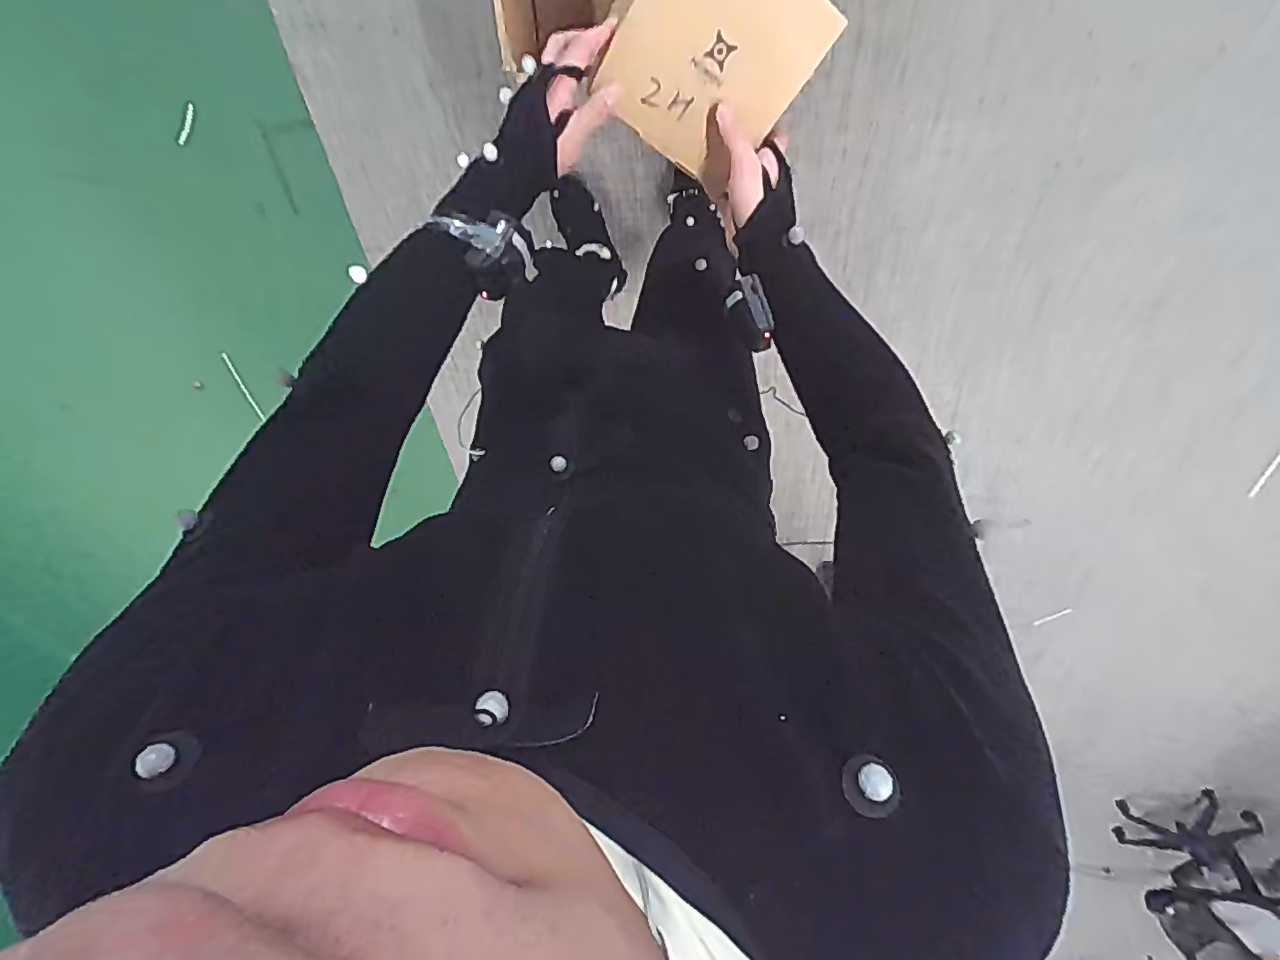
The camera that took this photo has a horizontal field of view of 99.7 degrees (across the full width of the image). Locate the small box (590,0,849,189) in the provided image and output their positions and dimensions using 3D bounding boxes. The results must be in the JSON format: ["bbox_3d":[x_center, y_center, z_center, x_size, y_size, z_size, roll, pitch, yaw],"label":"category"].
[{"bbox_3d":[0.063,-0.439,0.530,0.168,0.176,0.179,25,131,-27],"label":"small box"}]
